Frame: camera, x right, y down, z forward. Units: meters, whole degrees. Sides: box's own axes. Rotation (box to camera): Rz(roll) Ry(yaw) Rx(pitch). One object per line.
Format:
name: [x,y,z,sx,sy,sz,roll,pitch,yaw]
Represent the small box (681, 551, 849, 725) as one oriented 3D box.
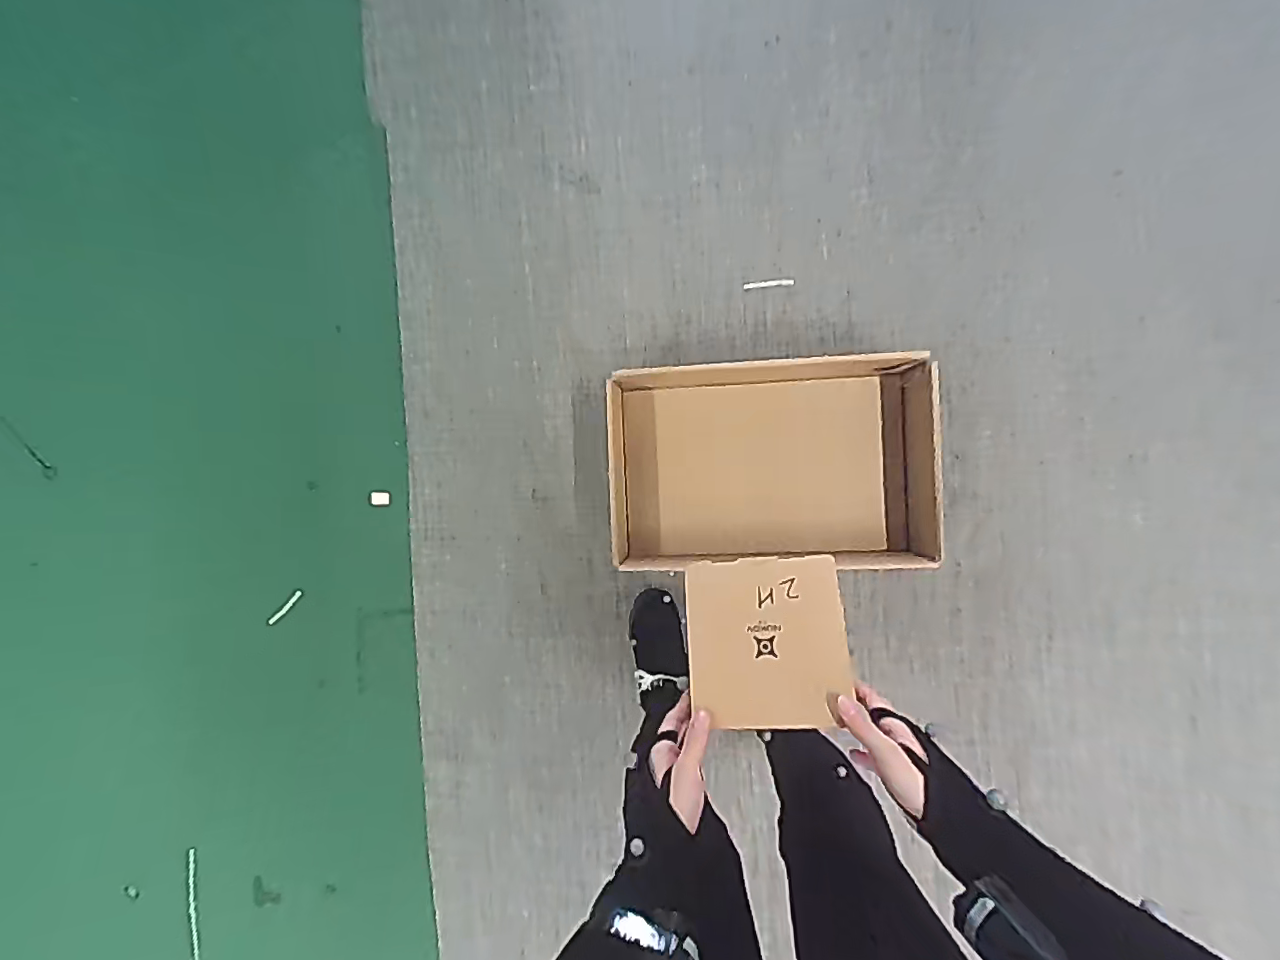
small box: [0.139,0.191,0.643,0.168,0.176,0.179,-3,67,8]
